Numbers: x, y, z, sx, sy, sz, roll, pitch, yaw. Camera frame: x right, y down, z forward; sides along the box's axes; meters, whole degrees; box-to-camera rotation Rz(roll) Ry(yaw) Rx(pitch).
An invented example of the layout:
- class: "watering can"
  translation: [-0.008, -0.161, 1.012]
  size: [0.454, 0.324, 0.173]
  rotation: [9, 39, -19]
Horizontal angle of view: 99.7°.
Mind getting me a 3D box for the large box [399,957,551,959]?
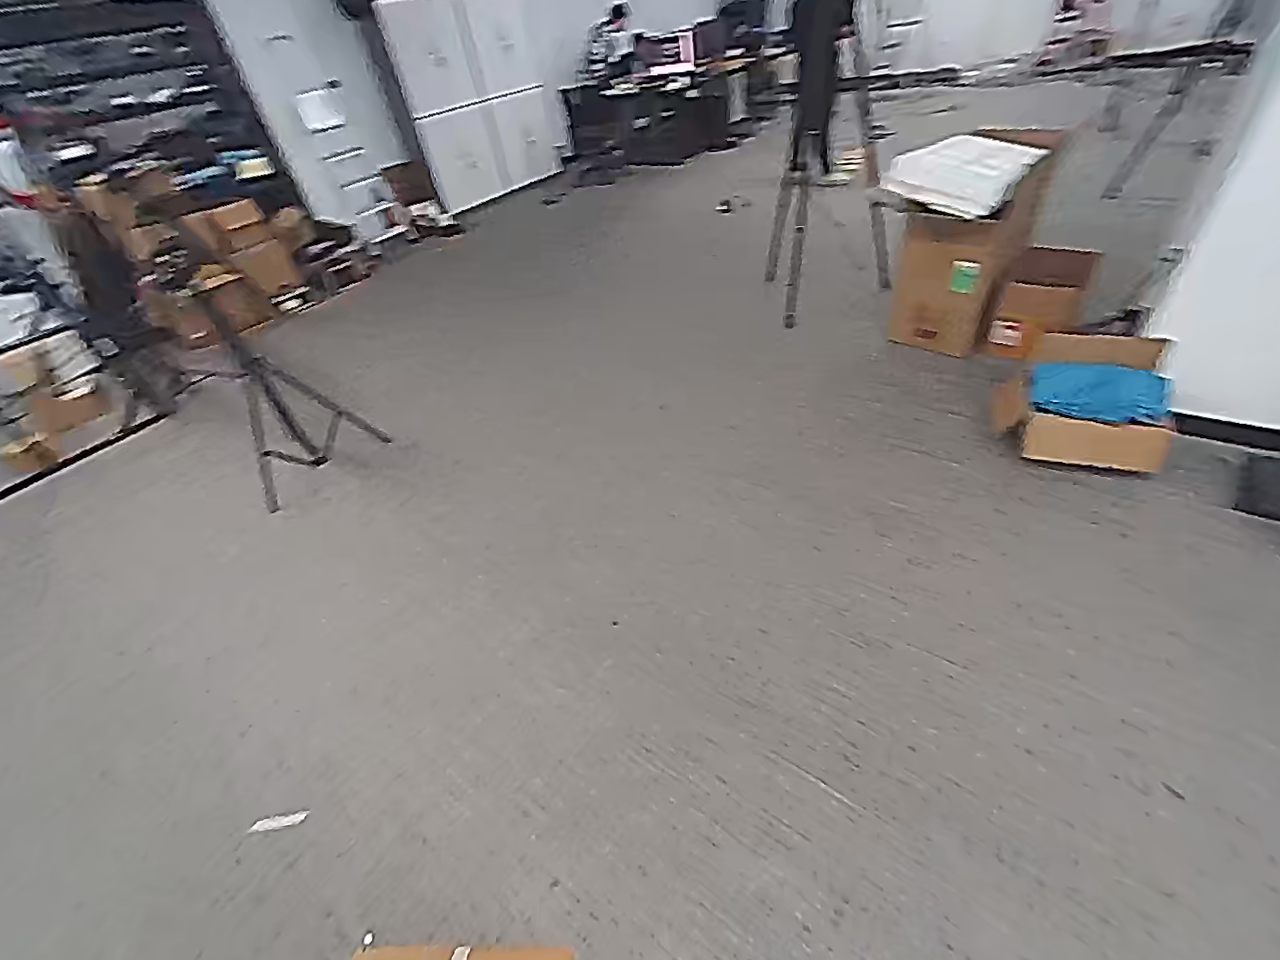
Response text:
- class: "large box"
  translation: [-0.250, 0.826, 0.563]
  size: [0.320, 0.320, 0.408]
  rotation: [0, -2, 1]
